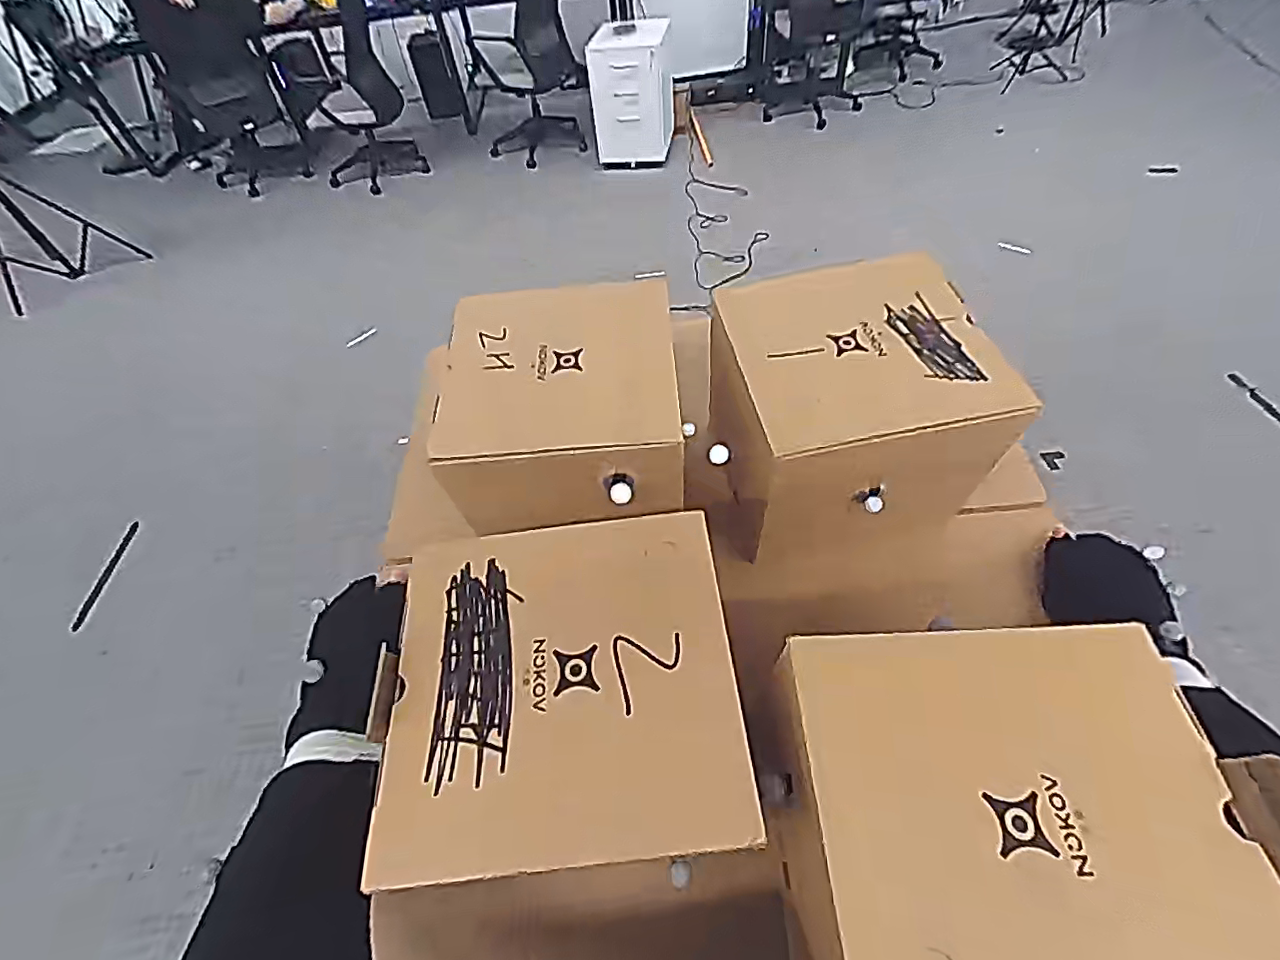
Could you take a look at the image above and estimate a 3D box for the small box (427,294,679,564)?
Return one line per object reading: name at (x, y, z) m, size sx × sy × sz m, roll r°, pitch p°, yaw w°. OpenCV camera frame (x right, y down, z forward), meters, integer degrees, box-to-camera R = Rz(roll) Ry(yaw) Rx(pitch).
small box at (-0.056, -0.037, 0.478) m, size 0.179 × 0.176 × 0.168 m, roll -5°, pitch 56°, yaw 4°
